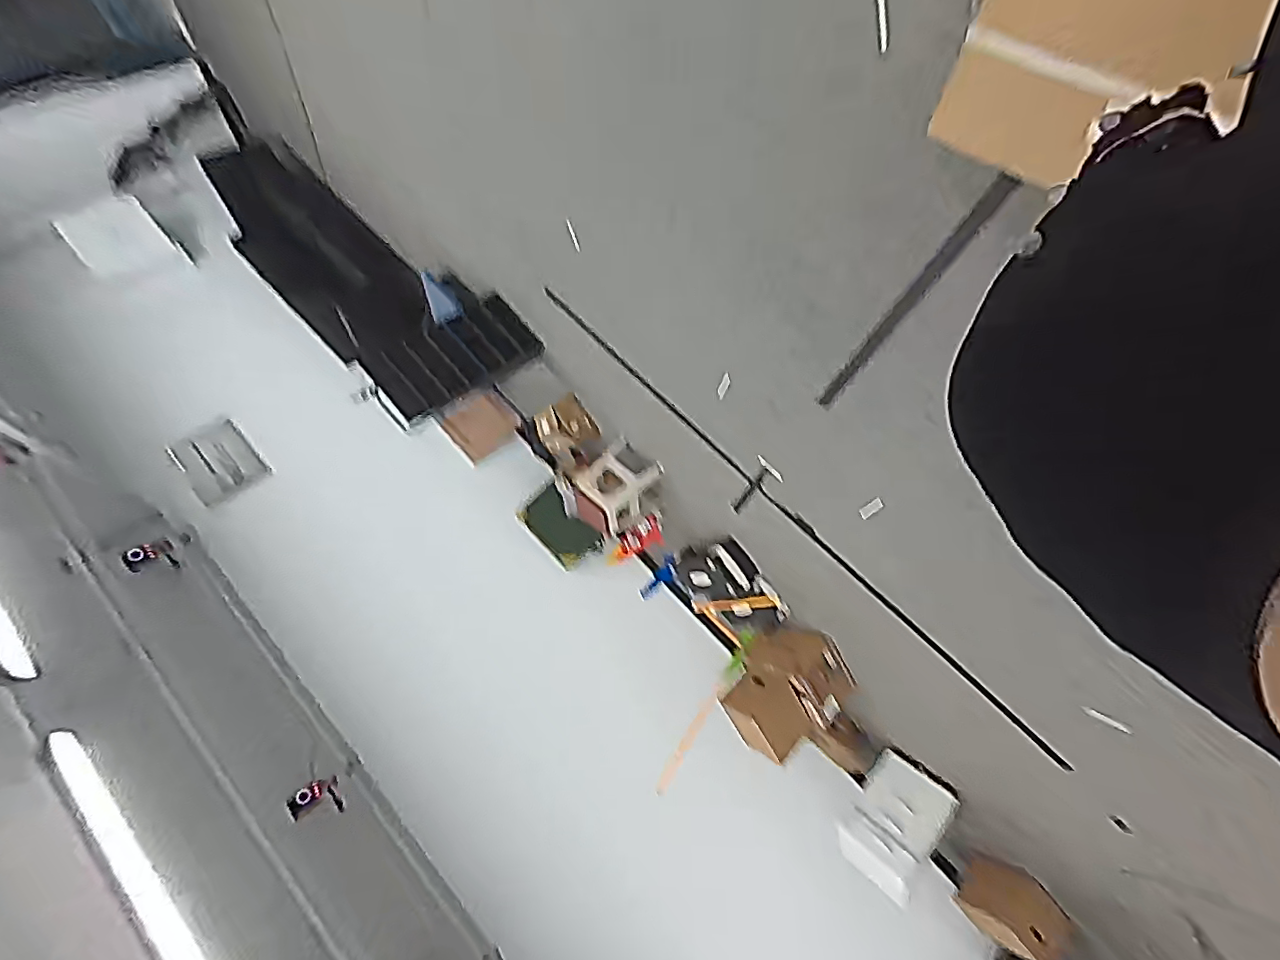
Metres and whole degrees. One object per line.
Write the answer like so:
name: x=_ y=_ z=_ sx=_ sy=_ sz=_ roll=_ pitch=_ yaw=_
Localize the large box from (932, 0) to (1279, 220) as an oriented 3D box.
large box: x=0.791 y=-0.700 z=0.871 sx=0.408 sy=0.320 sz=0.320 roll=40 pitch=155 yaw=21
